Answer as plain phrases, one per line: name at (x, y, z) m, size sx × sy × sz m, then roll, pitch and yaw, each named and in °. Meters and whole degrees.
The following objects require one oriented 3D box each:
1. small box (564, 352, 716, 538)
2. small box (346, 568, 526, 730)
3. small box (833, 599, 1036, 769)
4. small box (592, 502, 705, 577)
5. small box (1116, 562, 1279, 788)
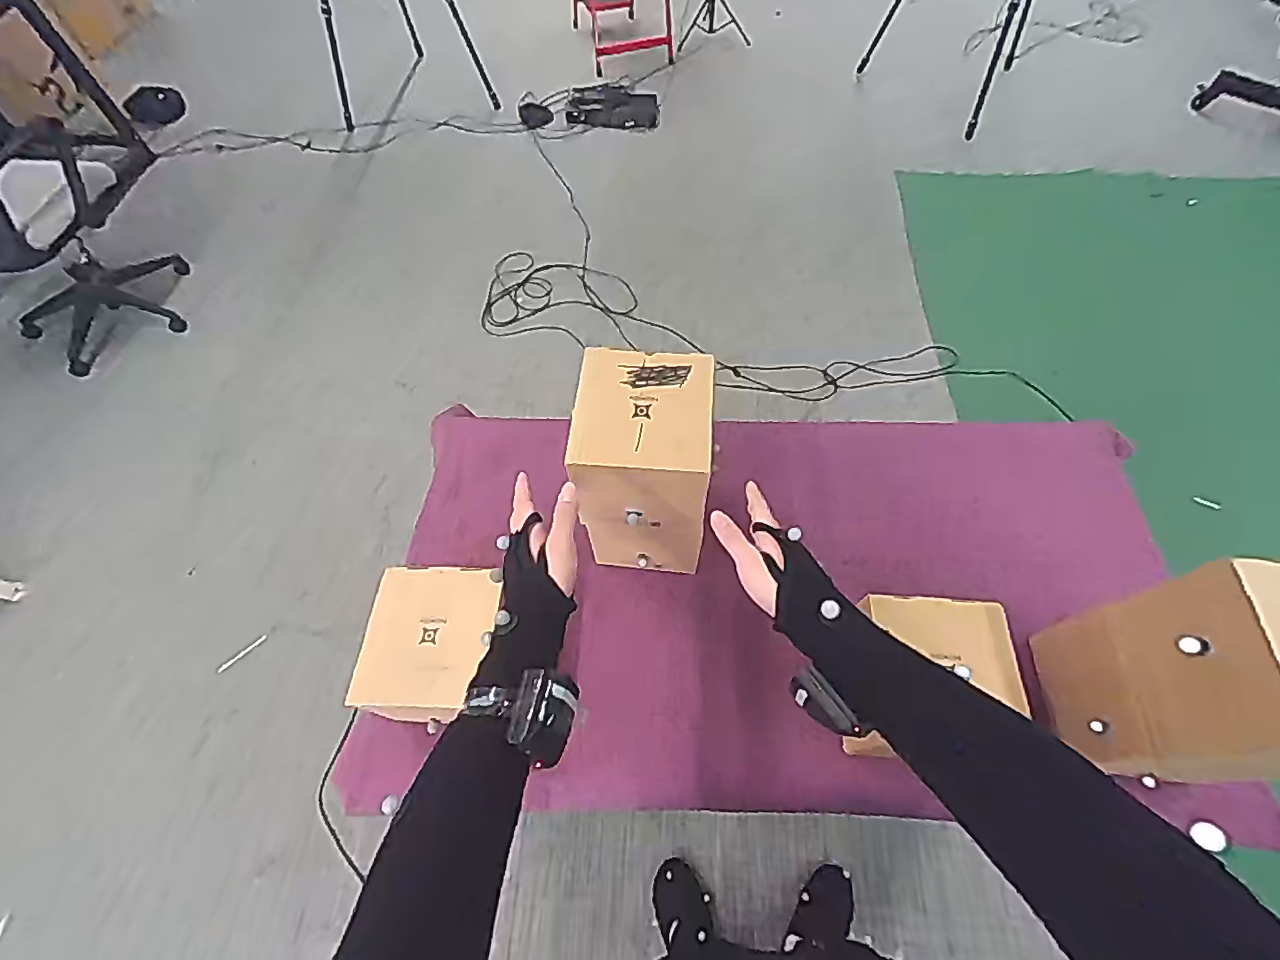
small box at (0.006, -0.042, 0.709) m, size 0.168 × 0.176 × 0.179 m, roll 4°, pitch 61°, yaw 4°
small box at (-0.262, 0.236, 0.746) m, size 0.168 × 0.176 × 0.179 m, roll 1°, pitch 59°, yaw 3°
small box at (0.363, 0.271, 0.707) m, size 0.168 × 0.176 × 0.179 m, roll 3°, pitch 58°, yaw 4°
small box at (0.017, 0.035, 0.854) m, size 0.168 × 0.176 × 0.179 m, roll 6°, pitch 61°, yaw 5°
small box at (0.640, 0.202, 0.544) m, size 0.168 × 0.176 × 0.179 m, roll 4°, pitch 59°, yaw 6°
